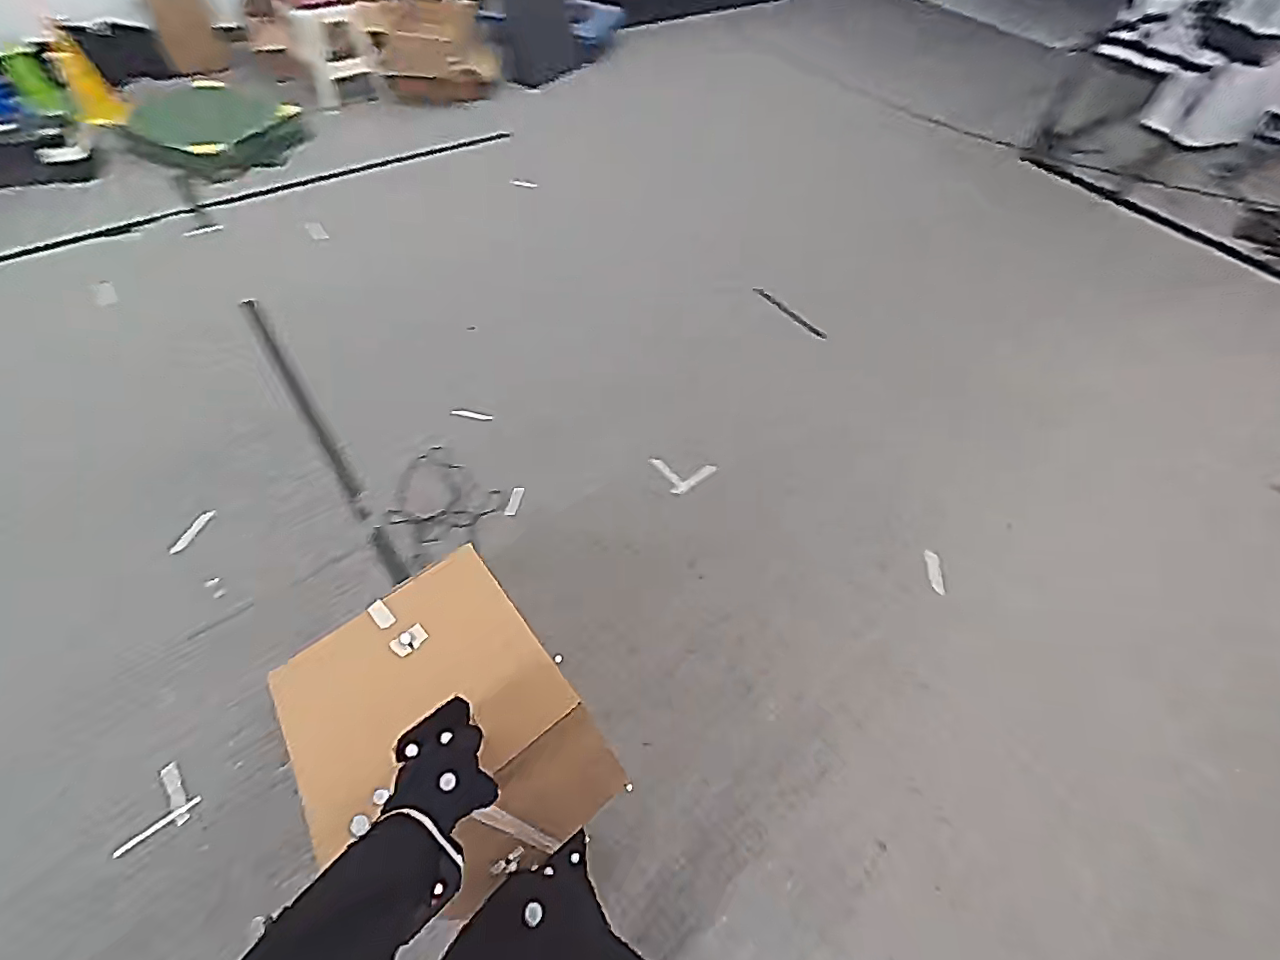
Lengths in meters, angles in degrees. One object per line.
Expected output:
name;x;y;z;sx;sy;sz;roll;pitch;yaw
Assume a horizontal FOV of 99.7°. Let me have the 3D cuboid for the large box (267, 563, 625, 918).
large box;-0.266;0.404;0.836;0.320;0.408;0.320;-36;54;-18
